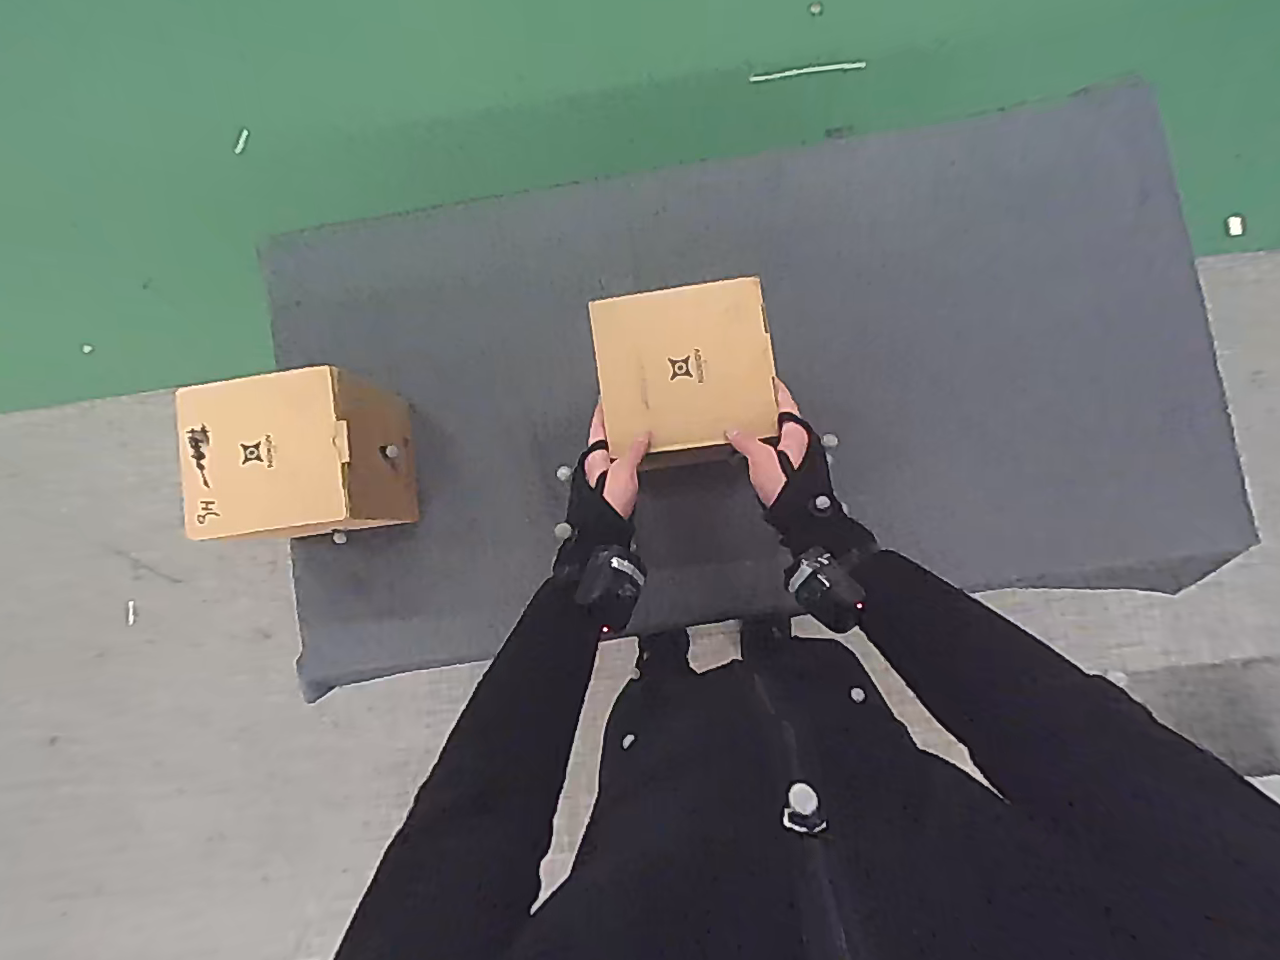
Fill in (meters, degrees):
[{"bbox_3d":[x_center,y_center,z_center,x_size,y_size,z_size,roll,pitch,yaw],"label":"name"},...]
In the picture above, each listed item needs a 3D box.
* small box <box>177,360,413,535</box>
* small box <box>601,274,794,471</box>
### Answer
[{"bbox_3d":[-0.380,-0.028,0.629,0.179,0.176,0.168,-7,84,0],"label":"small box"},{"bbox_3d":[0.060,-0.107,0.610,0.179,0.176,0.168,-8,84,4],"label":"small box"}]
